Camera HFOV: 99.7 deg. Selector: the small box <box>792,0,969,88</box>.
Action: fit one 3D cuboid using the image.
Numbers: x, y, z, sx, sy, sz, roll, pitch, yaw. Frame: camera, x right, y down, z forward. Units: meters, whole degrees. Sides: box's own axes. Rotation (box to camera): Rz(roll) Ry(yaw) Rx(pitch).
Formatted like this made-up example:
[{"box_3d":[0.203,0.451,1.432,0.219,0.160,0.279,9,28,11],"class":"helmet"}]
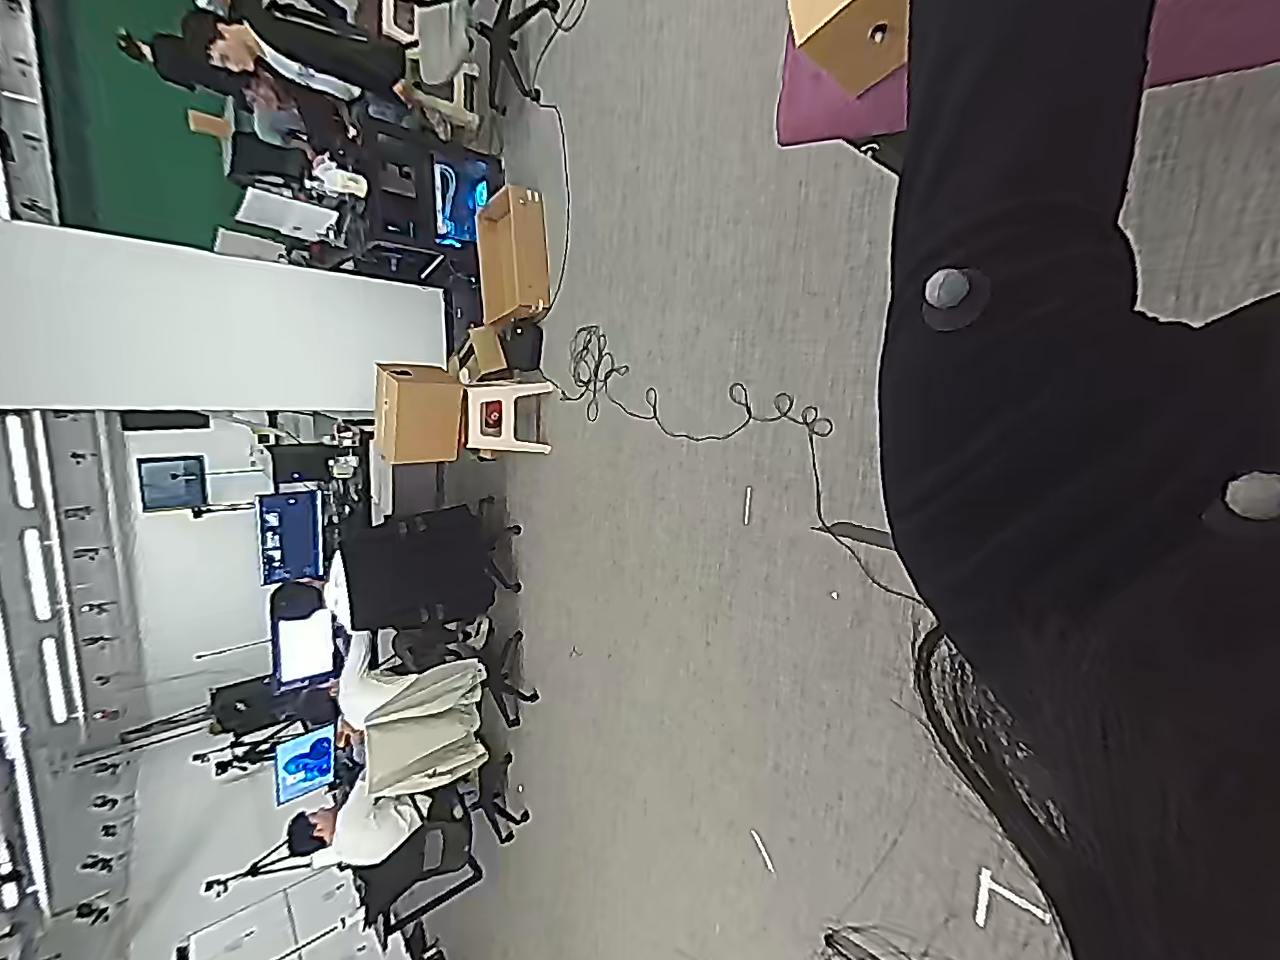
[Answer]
[{"box_3d":[0.312,-0.669,0.701,0.179,0.176,0.168,-13,84,48],"class":"small box"}]
